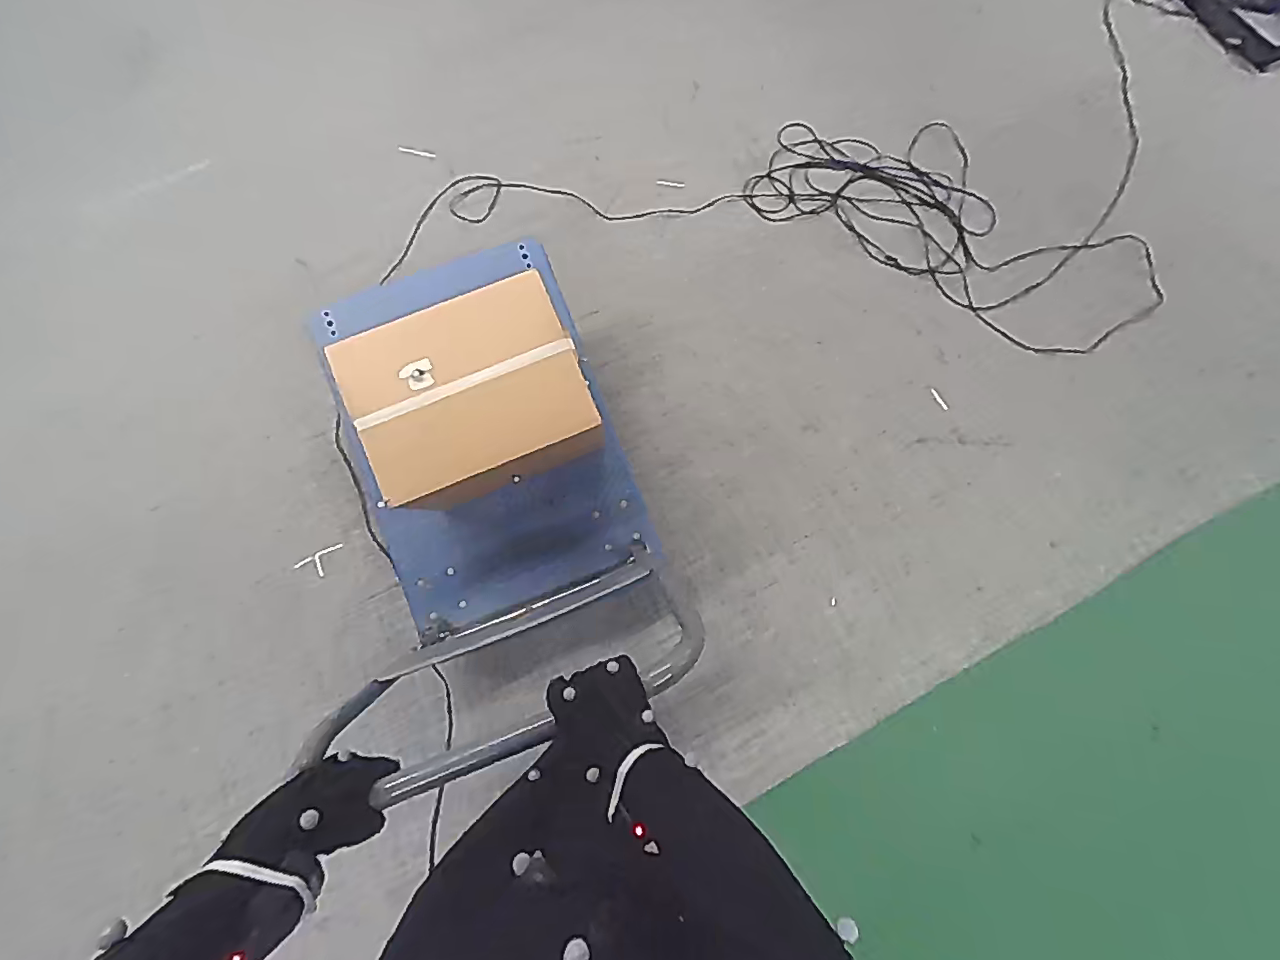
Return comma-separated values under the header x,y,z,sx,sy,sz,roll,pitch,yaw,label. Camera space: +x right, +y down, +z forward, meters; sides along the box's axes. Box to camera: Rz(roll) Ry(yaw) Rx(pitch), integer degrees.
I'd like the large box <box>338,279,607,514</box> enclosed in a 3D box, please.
x,y,z,sx,sy,sz,roll,pitch,yaw,label
-0.312,-0.147,1.131,0.408,0.320,0.320,-23,86,-3,large box
